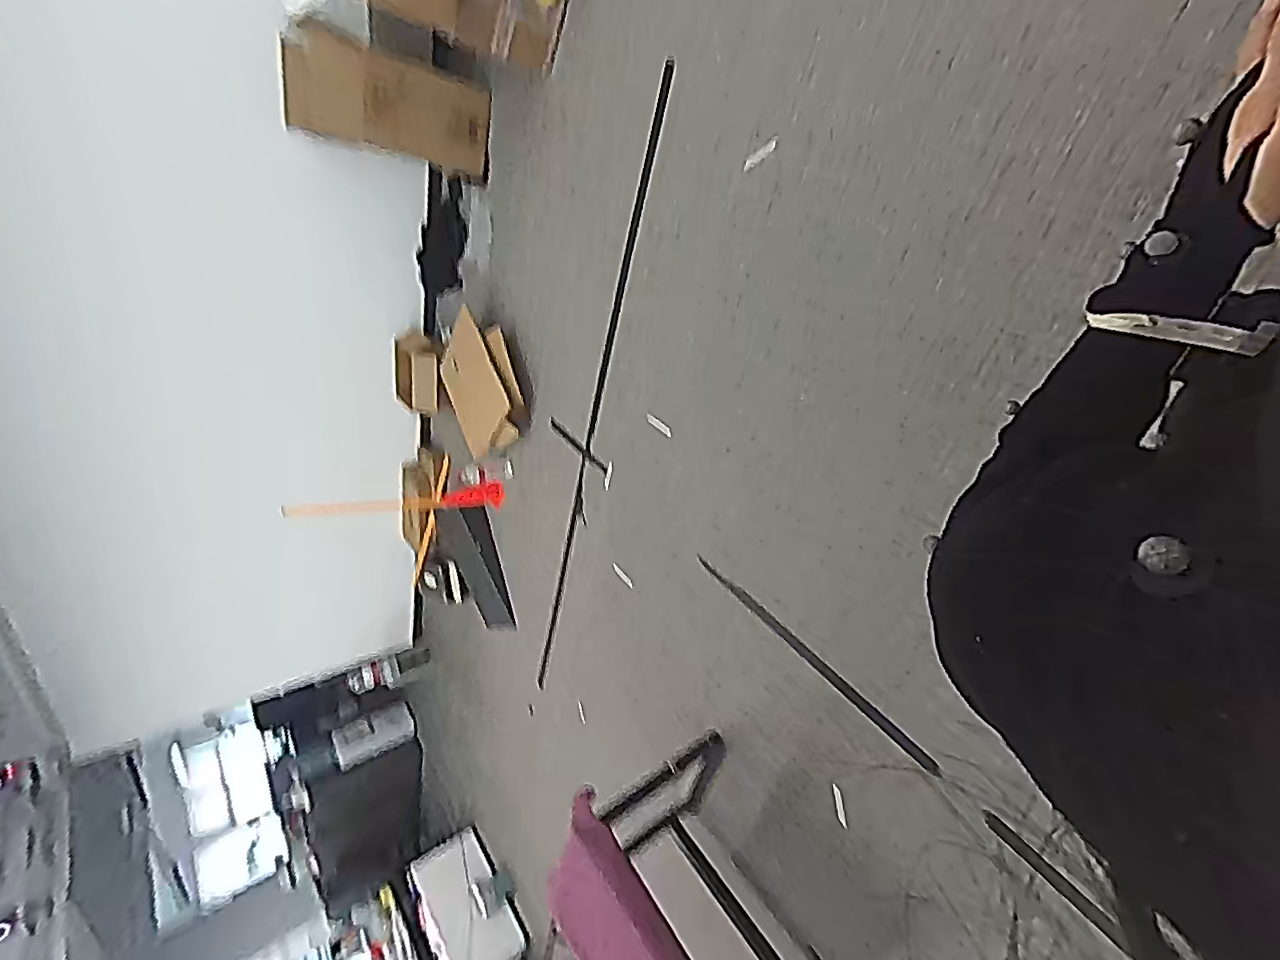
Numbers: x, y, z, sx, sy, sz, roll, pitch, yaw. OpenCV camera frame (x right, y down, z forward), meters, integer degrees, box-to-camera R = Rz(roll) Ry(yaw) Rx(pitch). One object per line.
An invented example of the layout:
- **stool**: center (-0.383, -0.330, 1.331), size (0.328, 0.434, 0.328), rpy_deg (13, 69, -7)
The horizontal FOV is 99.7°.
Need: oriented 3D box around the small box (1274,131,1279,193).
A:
- **small box**: center (0.440, -0.248, 0.251), size (0.168, 0.176, 0.179), rpy_deg (4, 104, 42)
